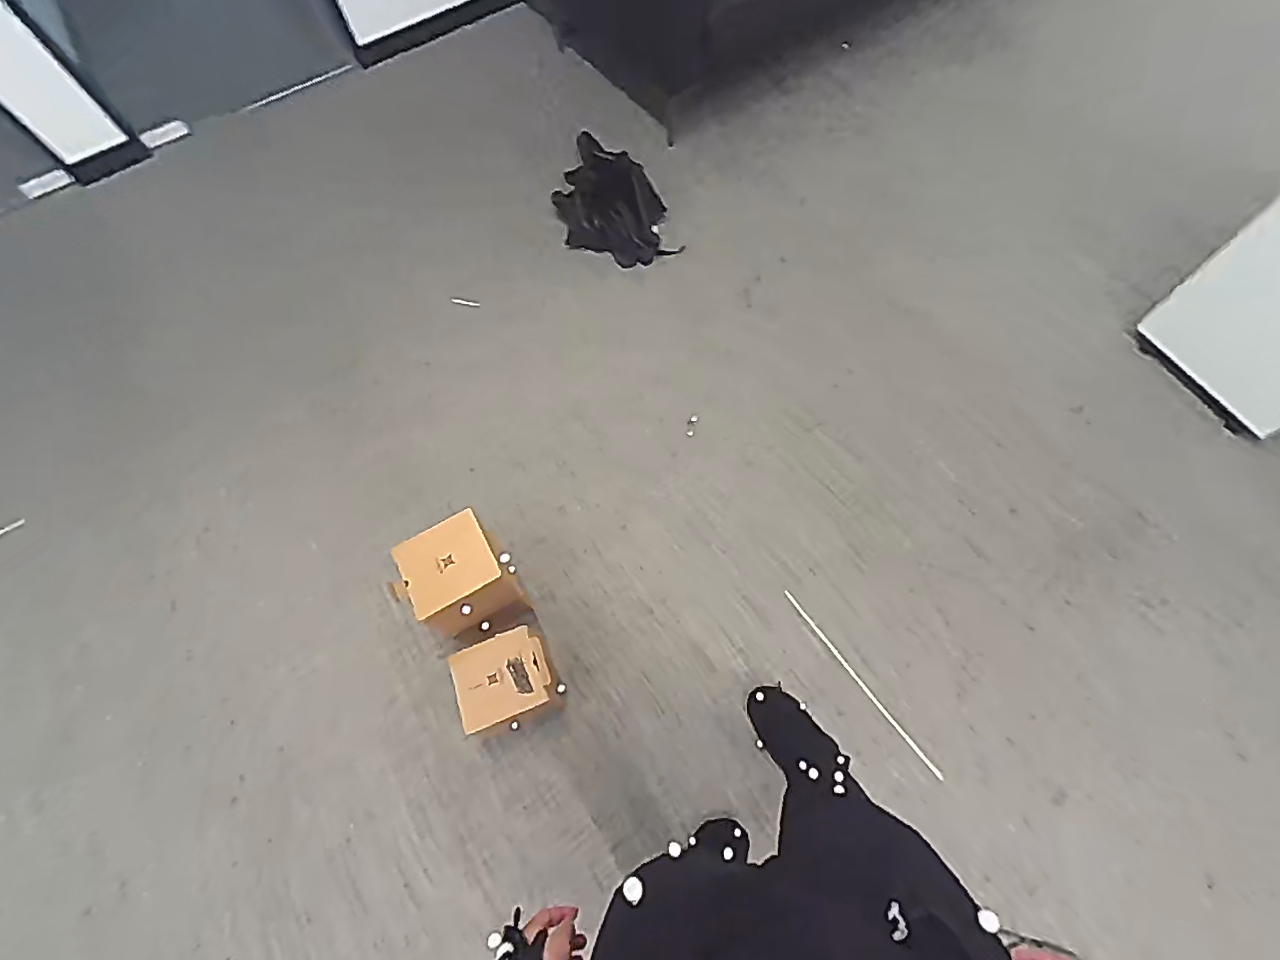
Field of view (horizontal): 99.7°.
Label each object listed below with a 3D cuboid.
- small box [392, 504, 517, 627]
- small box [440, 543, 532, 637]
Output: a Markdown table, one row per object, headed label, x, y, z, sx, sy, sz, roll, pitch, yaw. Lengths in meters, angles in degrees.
| label | x | y | z | sx | sy | sz | roll | pitch | yaw |
| --- | --- | --- | --- | --- | --- | --- | --- | --- | --- |
| small box | -0.369 | 0.181 | 1.113 | 0.179 | 0.176 | 0.168 | -29 | 67 | -9 |
| small box | -0.378 | 0.246 | 1.264 | 0.179 | 0.176 | 0.168 | -29 | 67 | -9 |
